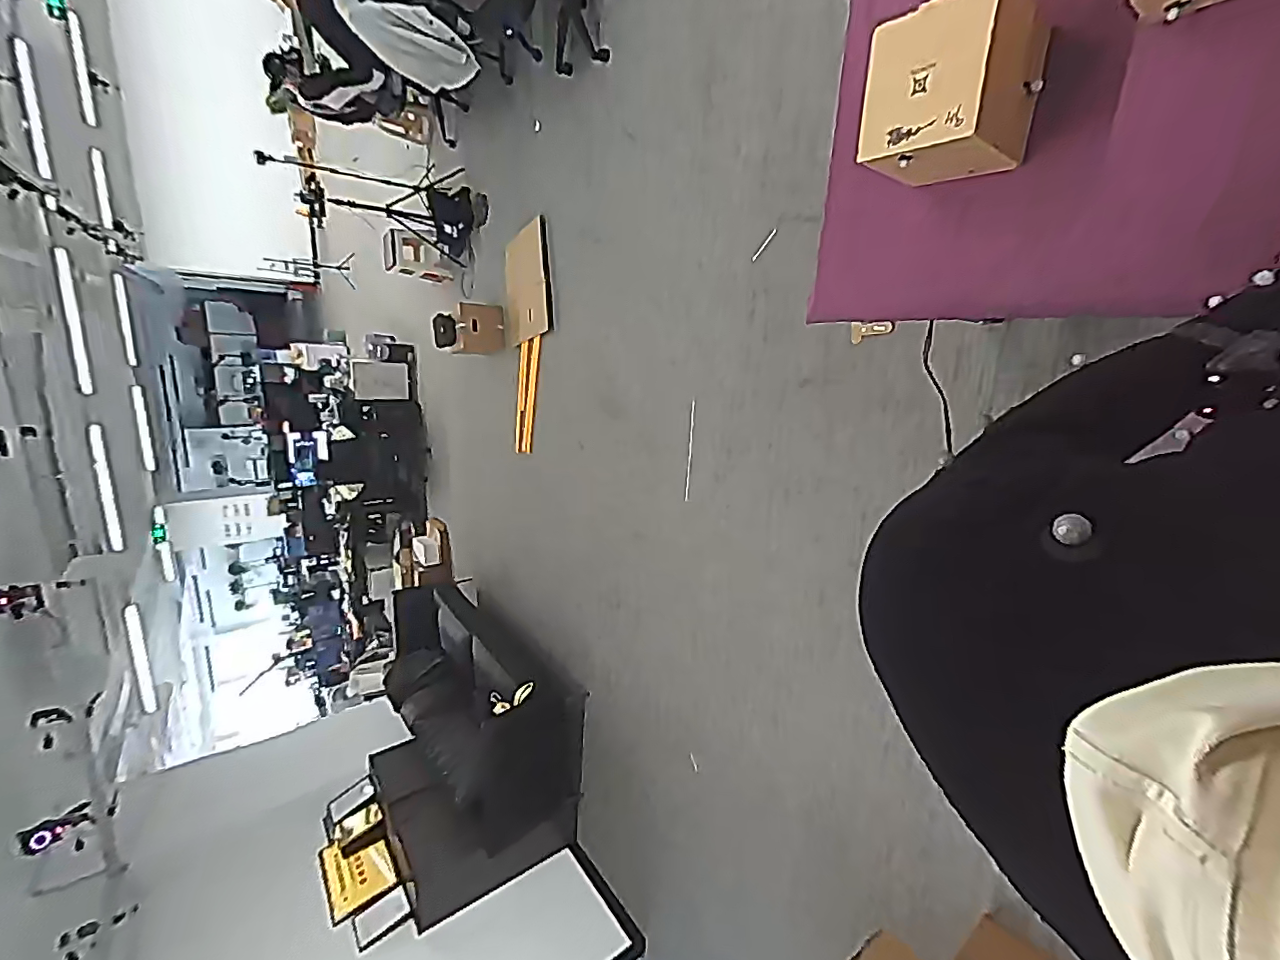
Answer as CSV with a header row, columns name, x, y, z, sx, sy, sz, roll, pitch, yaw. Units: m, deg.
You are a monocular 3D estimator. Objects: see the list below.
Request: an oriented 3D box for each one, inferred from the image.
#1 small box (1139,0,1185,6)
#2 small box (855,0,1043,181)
name,x,y,z,sx,sy,sz,roll,pitch,yaw
small box,0.606,-0.622,0.536,0.168,0.176,0.179,19,110,50
small box,0.439,-0.553,0.769,0.168,0.176,0.179,22,113,51
